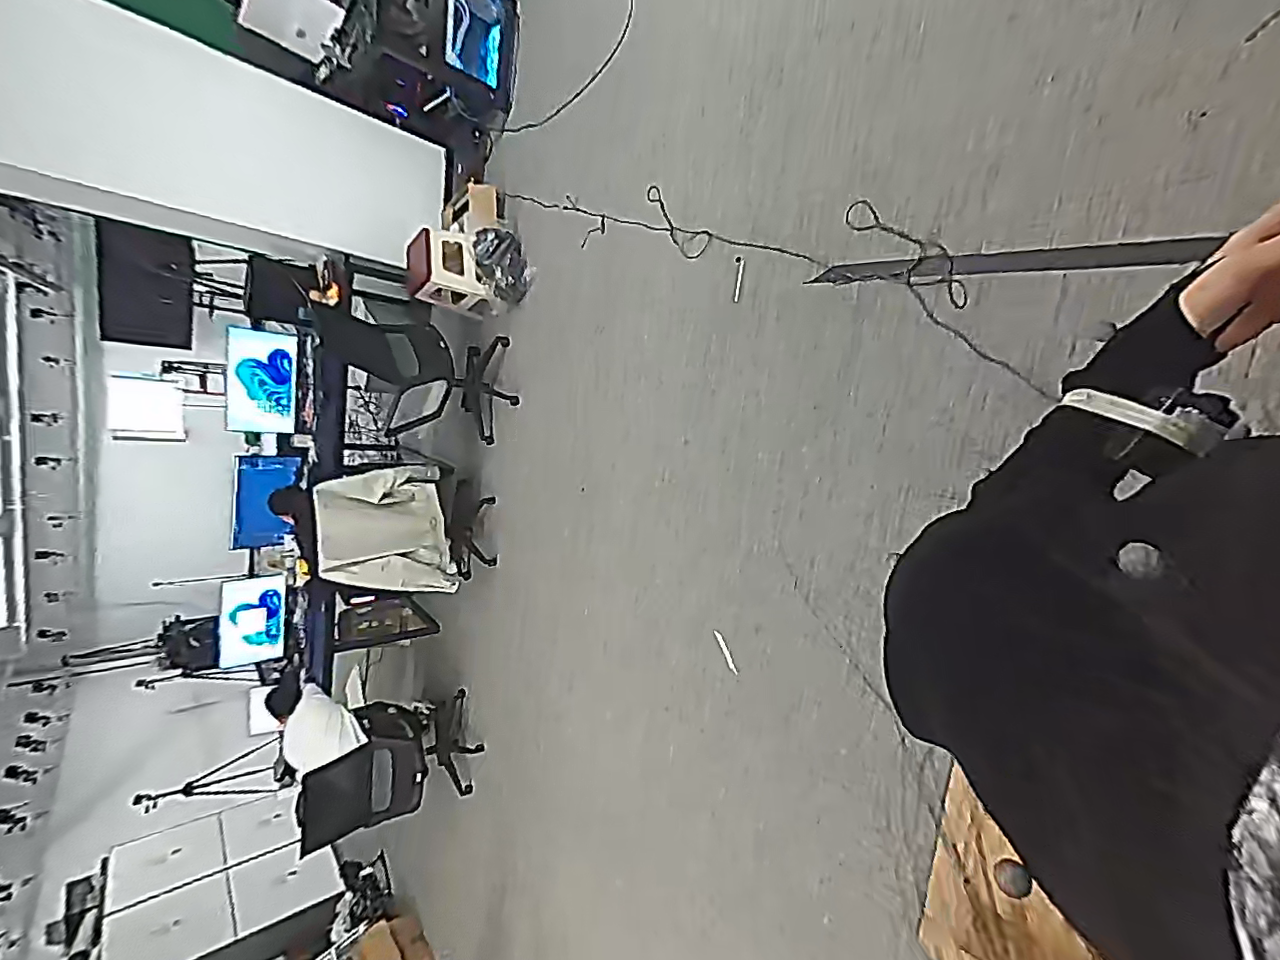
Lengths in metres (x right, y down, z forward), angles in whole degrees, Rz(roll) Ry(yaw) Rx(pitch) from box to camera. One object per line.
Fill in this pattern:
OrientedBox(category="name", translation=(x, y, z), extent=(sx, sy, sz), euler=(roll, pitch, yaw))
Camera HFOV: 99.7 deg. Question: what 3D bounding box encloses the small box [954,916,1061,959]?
OrientedBox(category="small box", translation=(0.839, 1.156, 1.238), extent=(0.179, 0.176, 0.168), euler=(9, 98, 48))
